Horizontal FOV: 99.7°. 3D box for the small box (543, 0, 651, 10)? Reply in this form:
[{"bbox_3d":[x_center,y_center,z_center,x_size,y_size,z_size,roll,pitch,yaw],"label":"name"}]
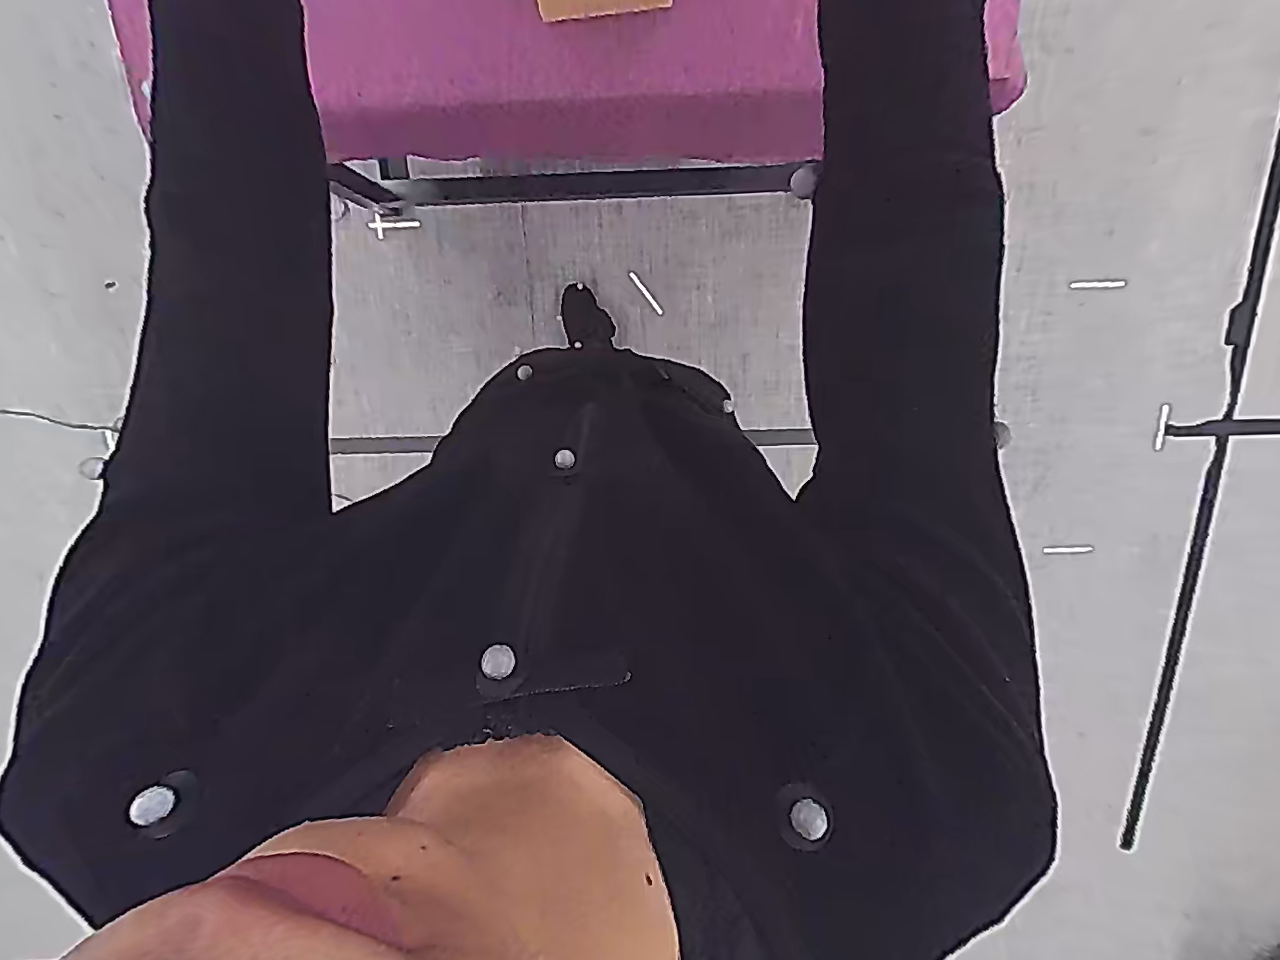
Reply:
[{"bbox_3d":[-0.049,-0.682,0.616,0.179,0.176,0.168,-7,105,0],"label":"small box"}]
